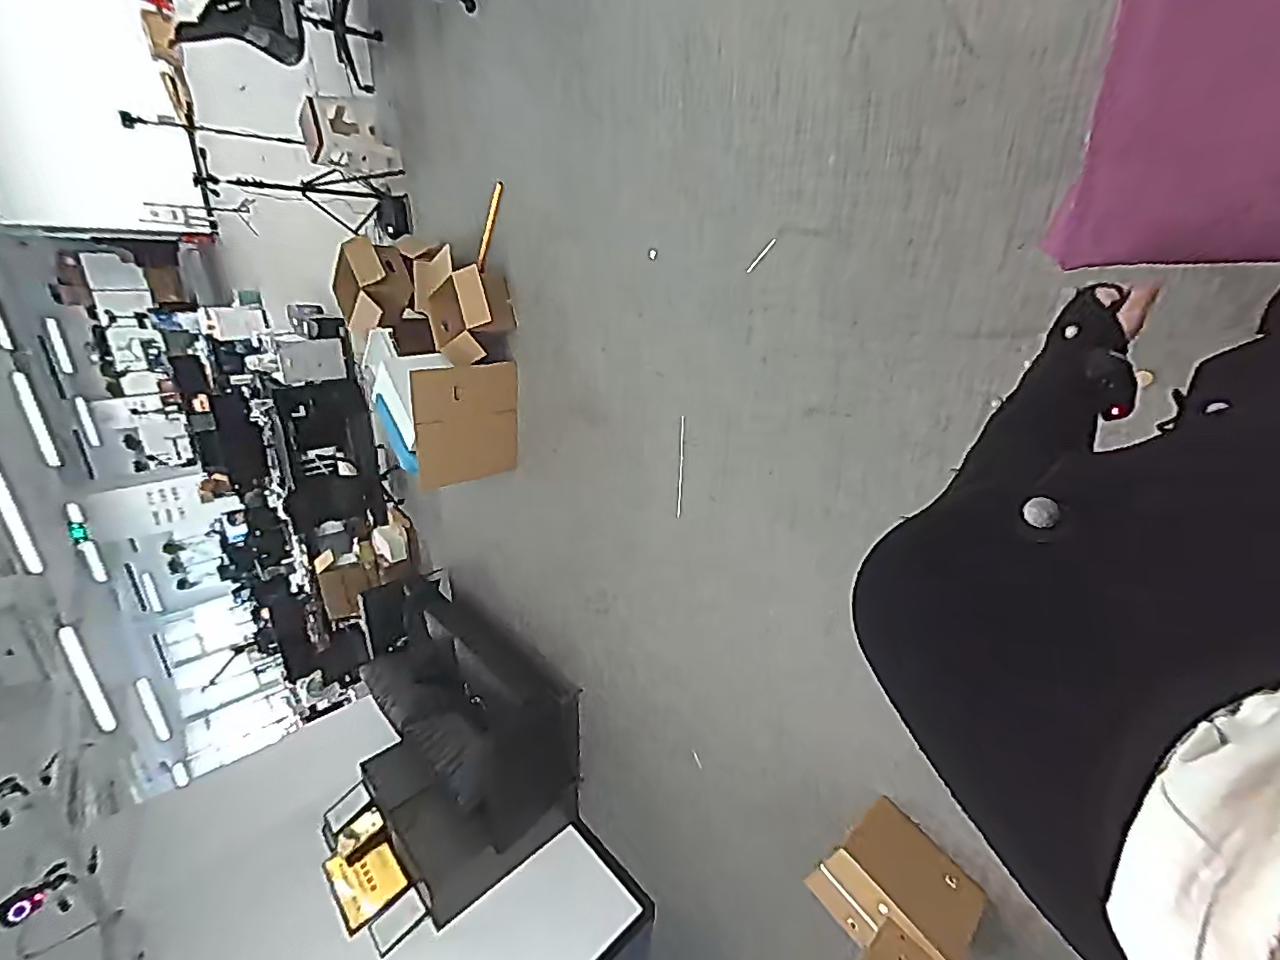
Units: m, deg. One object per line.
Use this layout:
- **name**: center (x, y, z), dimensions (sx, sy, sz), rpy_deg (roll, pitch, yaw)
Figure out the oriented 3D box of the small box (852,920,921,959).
- **small box**: center (0.751, 1.513, 1.655), dimensions (0.168, 0.176, 0.179), rpy_deg (34, 125, 37)
